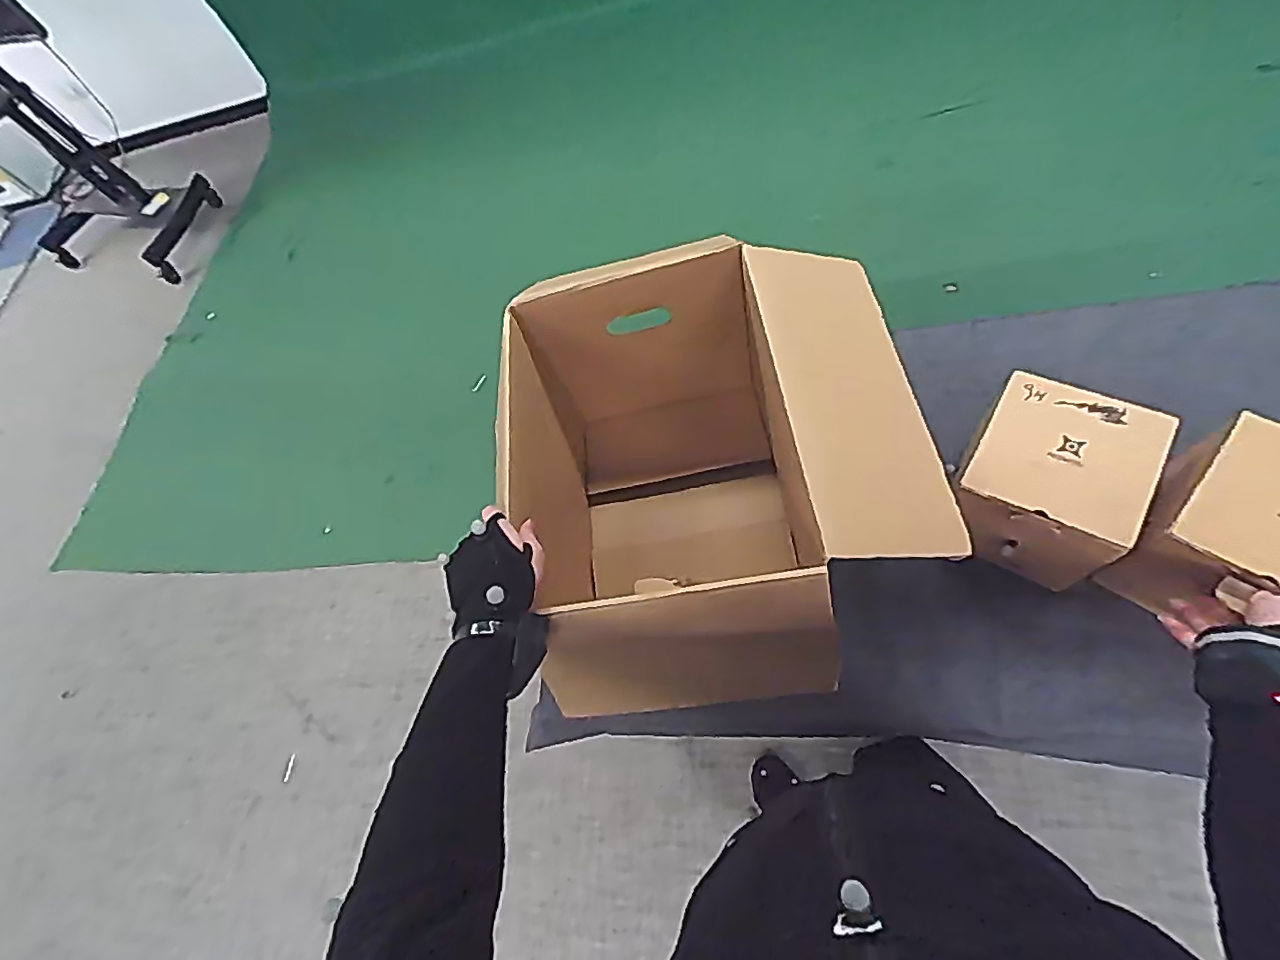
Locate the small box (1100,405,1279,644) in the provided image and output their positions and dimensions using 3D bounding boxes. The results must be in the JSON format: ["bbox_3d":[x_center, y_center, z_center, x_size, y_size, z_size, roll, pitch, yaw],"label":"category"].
[{"bbox_3d":[0.665,0.058,0.597,0.168,0.176,0.179,35,78,25],"label":"small box"}]
